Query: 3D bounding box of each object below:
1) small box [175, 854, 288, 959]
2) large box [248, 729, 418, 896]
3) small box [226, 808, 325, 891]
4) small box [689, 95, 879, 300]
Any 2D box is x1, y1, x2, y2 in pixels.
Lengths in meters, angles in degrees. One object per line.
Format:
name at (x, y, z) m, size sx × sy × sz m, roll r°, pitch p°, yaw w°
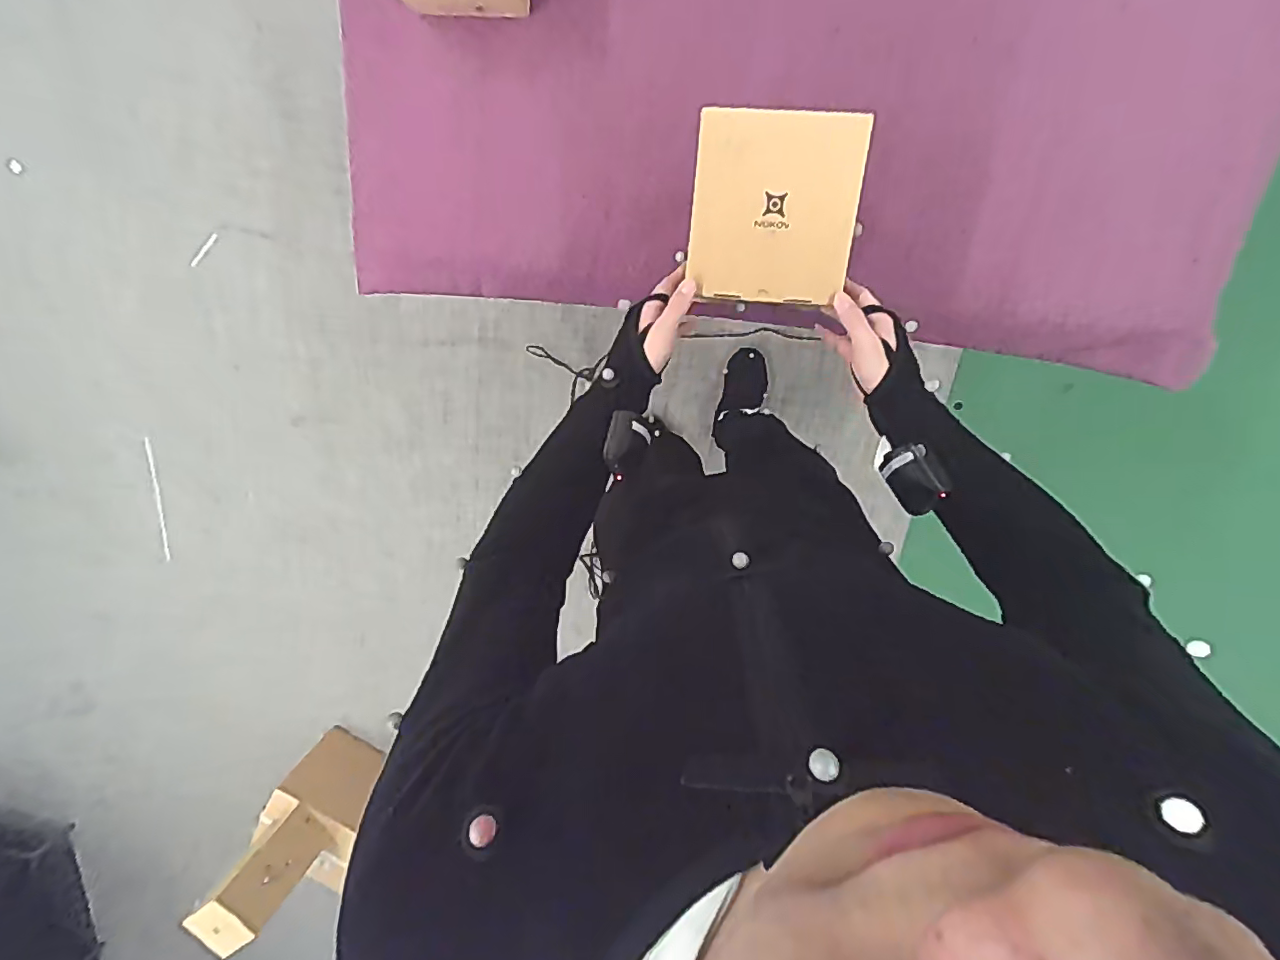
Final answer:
small box at (-1.207, 1.271, 1.610) m, size 0.179 × 0.176 × 0.168 m, roll -38°, pitch 98°, yaw 15°
large box at (-1.130, 1.225, 2.019) m, size 0.408 × 0.320 × 0.320 m, roll 31°, pitch 109°, yaw -3°
small box at (-1.183, 1.228, 1.769) m, size 0.179 × 0.176 × 0.168 m, roll -37°, pitch 98°, yaw 16°
small box at (0.146, -0.304, 0.616) m, size 0.168 × 0.176 × 0.179 m, roll 6°, pitch 109°, yaw 4°
